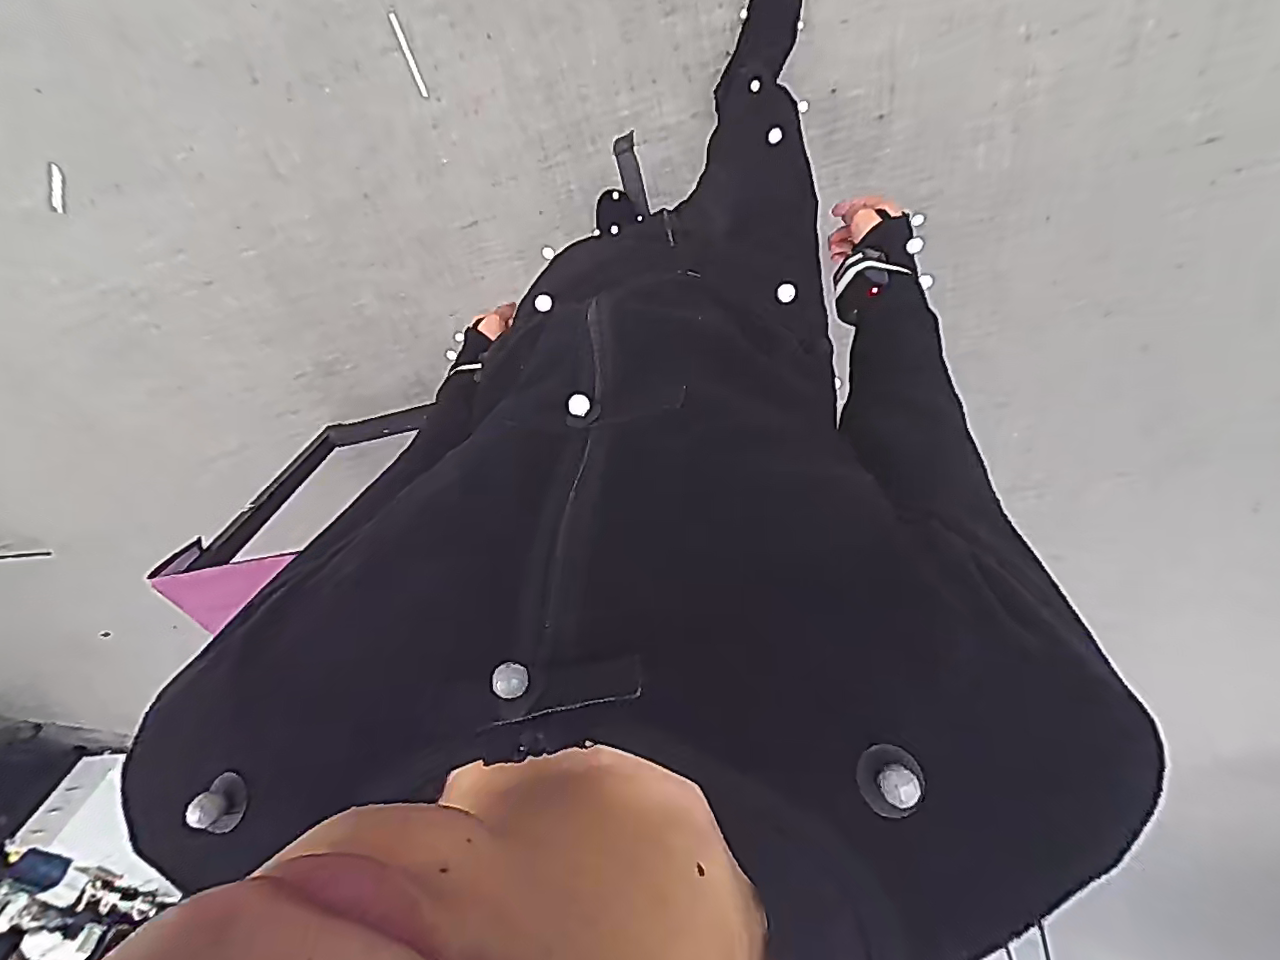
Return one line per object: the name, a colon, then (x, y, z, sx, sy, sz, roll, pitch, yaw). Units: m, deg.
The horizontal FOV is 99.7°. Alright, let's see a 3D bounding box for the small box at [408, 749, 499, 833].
small box: (-0.561, 0.948, 1.652, 0.179, 0.176, 0.168, -18, 124, 19)
